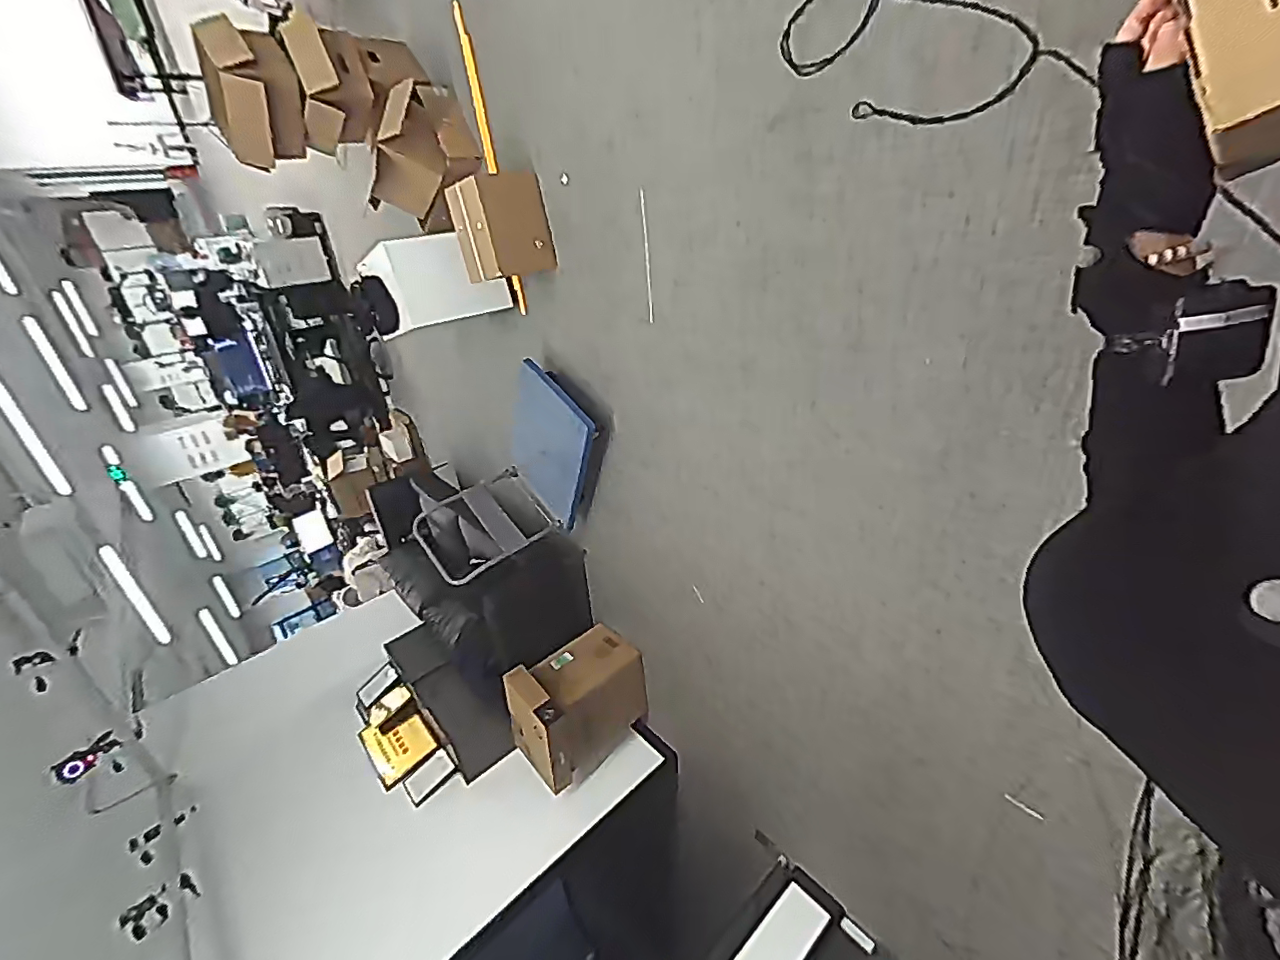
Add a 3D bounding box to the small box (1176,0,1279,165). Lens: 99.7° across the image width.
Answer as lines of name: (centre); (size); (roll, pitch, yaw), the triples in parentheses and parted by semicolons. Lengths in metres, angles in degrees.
small box: (0.398, -0.294, 0.273); (0.179, 0.176, 0.168); (-13, 91, 49)
